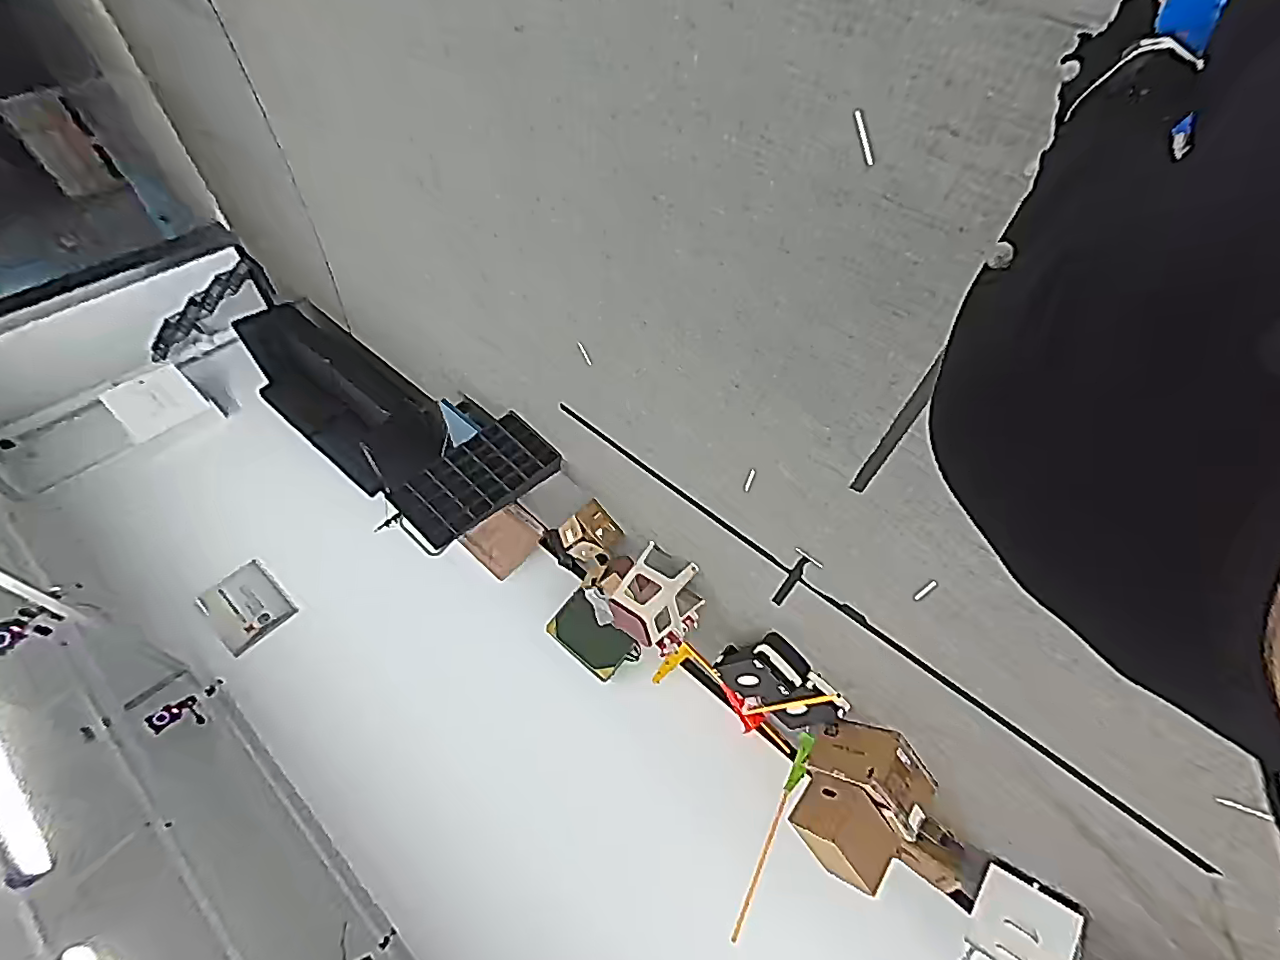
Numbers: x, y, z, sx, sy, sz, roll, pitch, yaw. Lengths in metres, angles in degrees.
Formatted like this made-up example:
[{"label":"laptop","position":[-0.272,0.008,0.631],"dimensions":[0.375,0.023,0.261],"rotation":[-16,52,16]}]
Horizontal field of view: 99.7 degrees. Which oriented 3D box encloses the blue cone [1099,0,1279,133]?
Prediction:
[{"label":"blue cone","position":[0.800,-0.614,0.812],"dimensions":[0.192,0.380,0.193],"rotation":[46,151,6]}]
